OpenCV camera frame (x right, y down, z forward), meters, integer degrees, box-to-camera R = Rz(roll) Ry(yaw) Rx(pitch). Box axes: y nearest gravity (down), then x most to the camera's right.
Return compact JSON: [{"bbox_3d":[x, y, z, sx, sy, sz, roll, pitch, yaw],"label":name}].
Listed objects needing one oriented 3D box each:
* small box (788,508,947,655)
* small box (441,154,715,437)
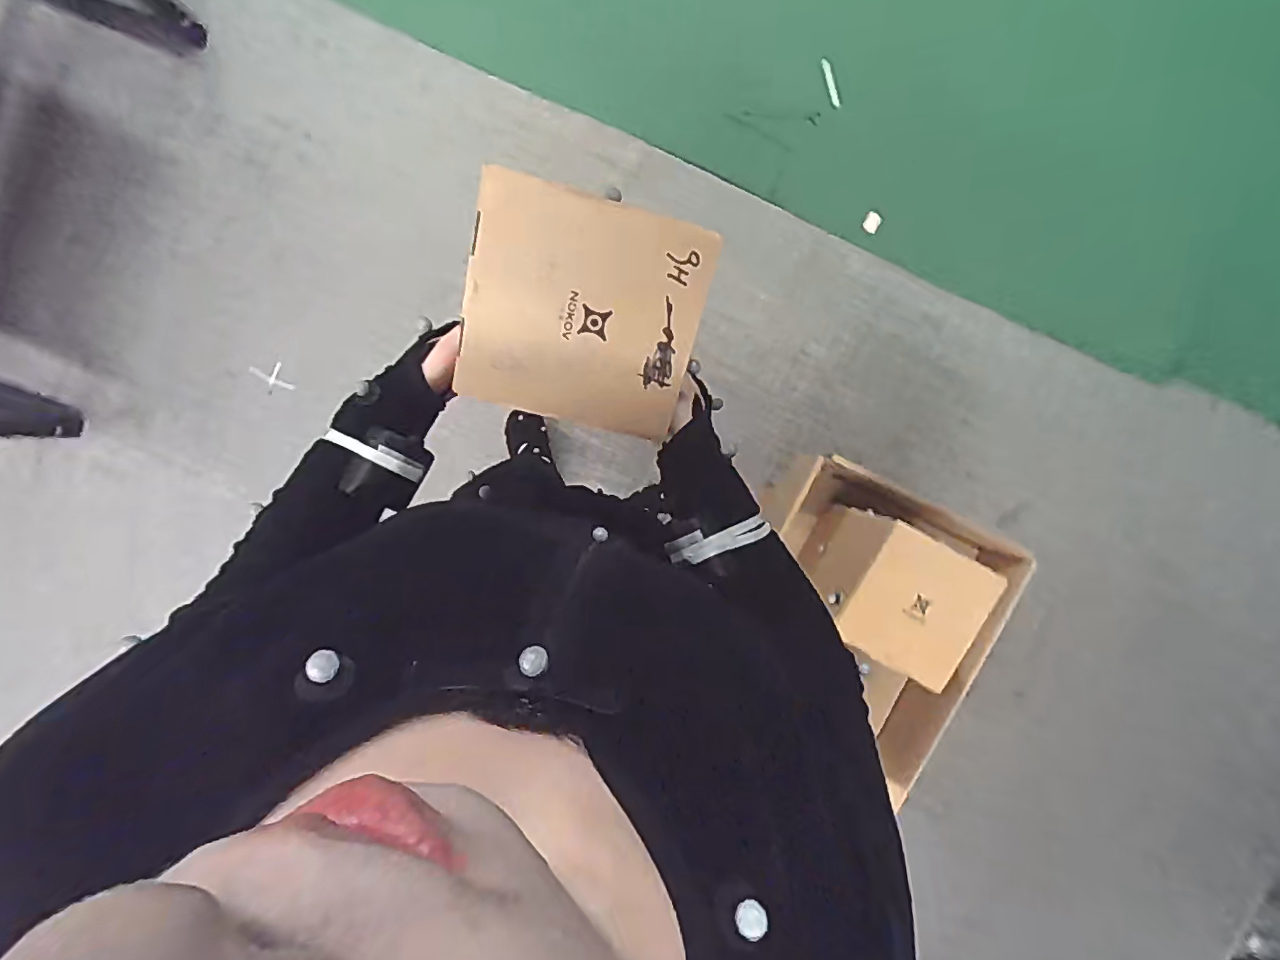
[{"bbox_3d":[0.380,0.163,0.943,0.168,0.176,0.179,29,95,0],"label":"small box"},{"bbox_3d":[-0.053,-0.158,0.477,0.179,0.176,0.168,14,112,-8],"label":"small box"}]
